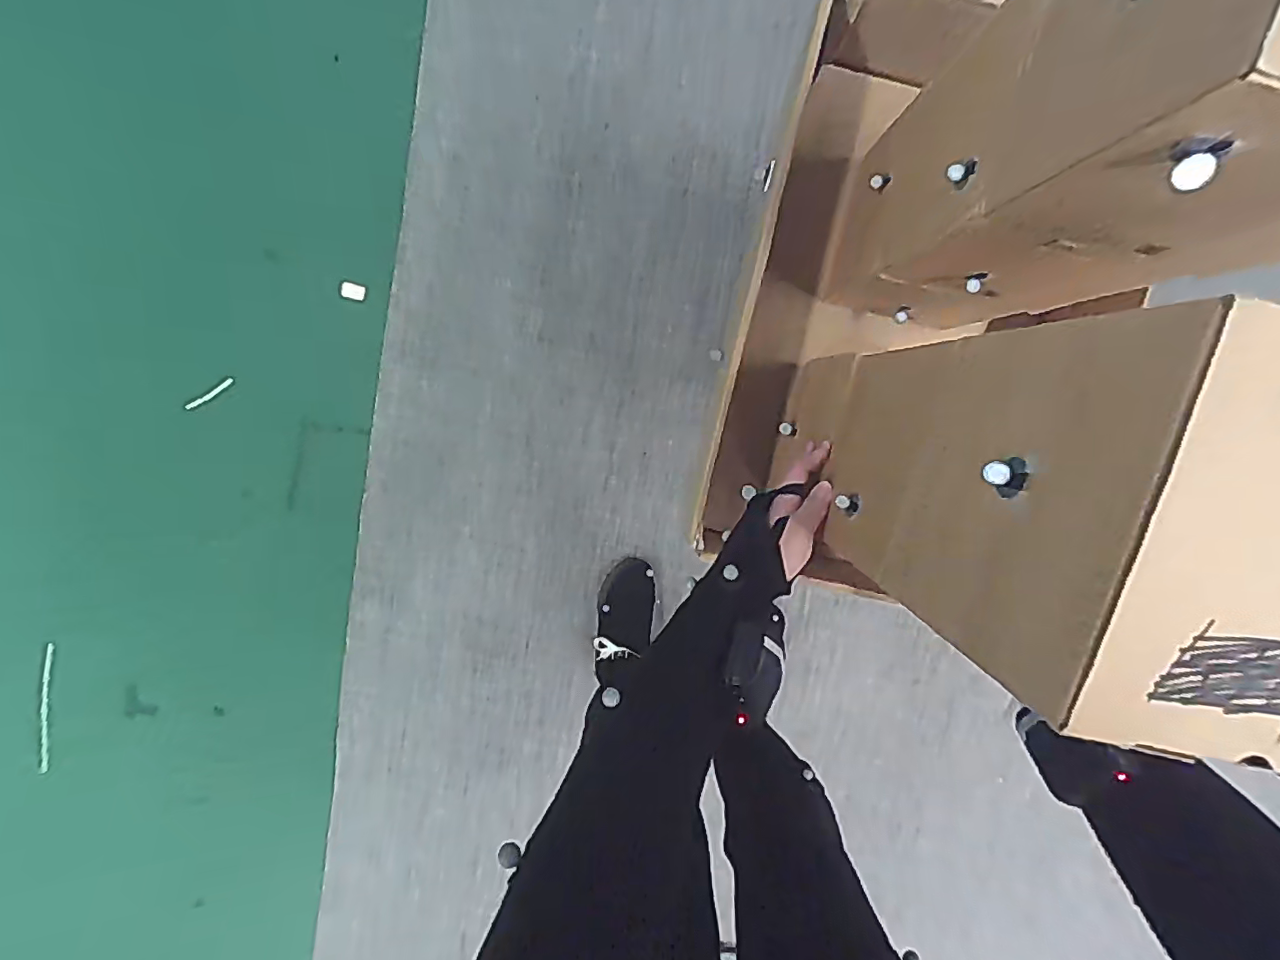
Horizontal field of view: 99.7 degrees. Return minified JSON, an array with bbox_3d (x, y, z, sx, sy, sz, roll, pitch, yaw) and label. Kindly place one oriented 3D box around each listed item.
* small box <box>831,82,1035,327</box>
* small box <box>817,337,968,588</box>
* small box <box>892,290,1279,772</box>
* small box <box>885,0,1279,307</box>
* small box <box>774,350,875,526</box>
[{"bbox_3d":[0.331,-0.282,0.596,0.168,0.176,0.179,13,99,0],"label":"small box"},{"bbox_3d":[0.266,-0.006,0.450,0.168,0.176,0.179,14,99,-2],"label":"small box"},{"bbox_3d":[0.263,0.020,0.288,0.168,0.176,0.179,13,98,-2],"label":"small box"},{"bbox_3d":[0.327,-0.255,0.436,0.168,0.176,0.179,12,99,-1],"label":"small box"},{"bbox_3d":[0.264,-0.037,0.610,0.168,0.176,0.179,14,99,-3],"label":"small box"}]
